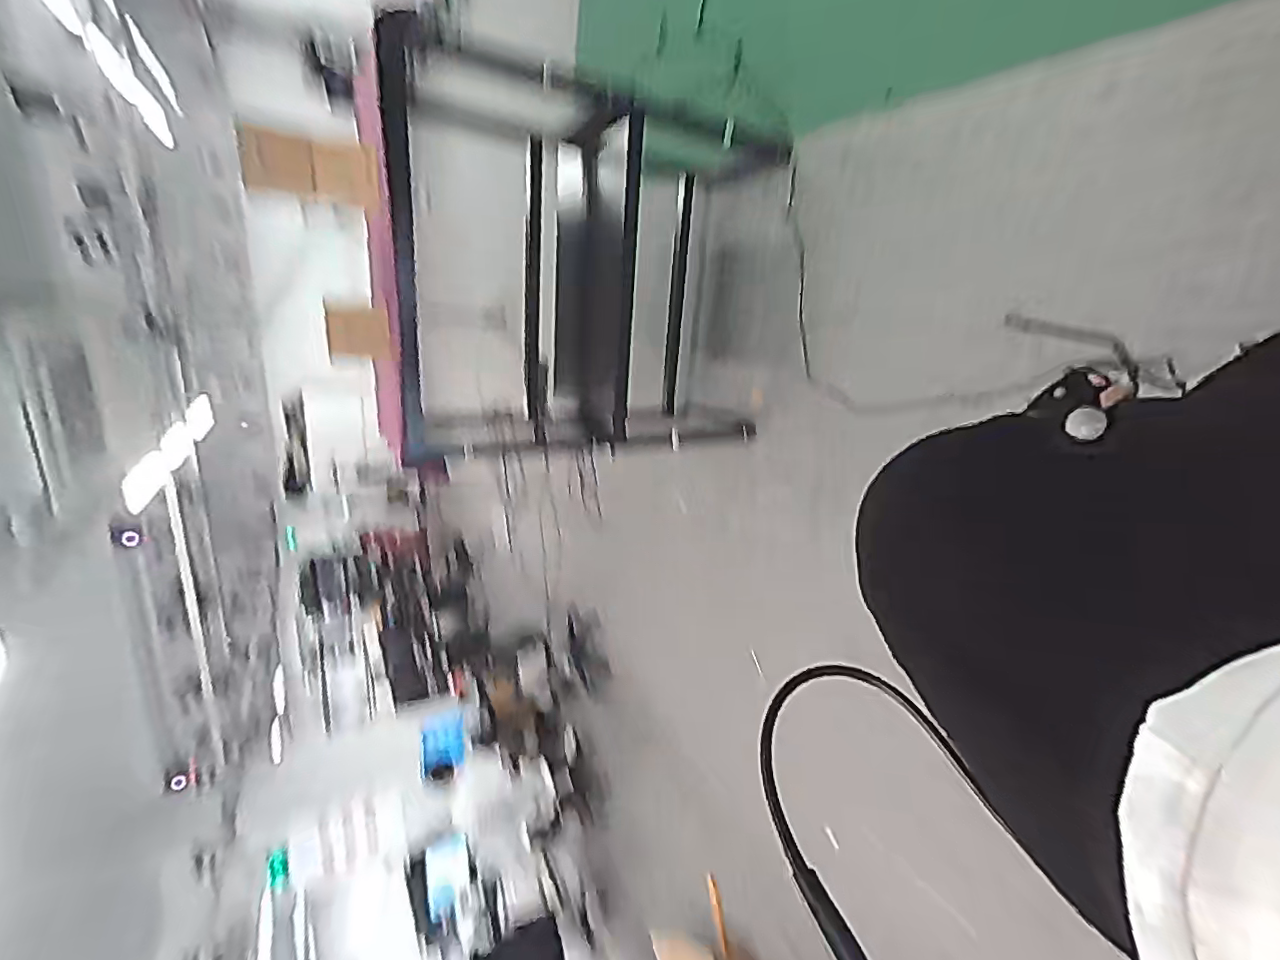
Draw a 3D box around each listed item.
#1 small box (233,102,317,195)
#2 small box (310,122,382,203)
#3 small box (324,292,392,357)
[{"bbox_3d":[-0.981,-0.888,1.470,0.168,0.176,0.179,30,120,55],"label":"small box"},{"bbox_3d":[-0.843,-0.907,1.556,0.179,0.176,0.168,35,125,54],"label":"small box"},{"bbox_3d":[-0.848,-0.464,1.629,0.168,0.176,0.179,23,114,57],"label":"small box"}]
